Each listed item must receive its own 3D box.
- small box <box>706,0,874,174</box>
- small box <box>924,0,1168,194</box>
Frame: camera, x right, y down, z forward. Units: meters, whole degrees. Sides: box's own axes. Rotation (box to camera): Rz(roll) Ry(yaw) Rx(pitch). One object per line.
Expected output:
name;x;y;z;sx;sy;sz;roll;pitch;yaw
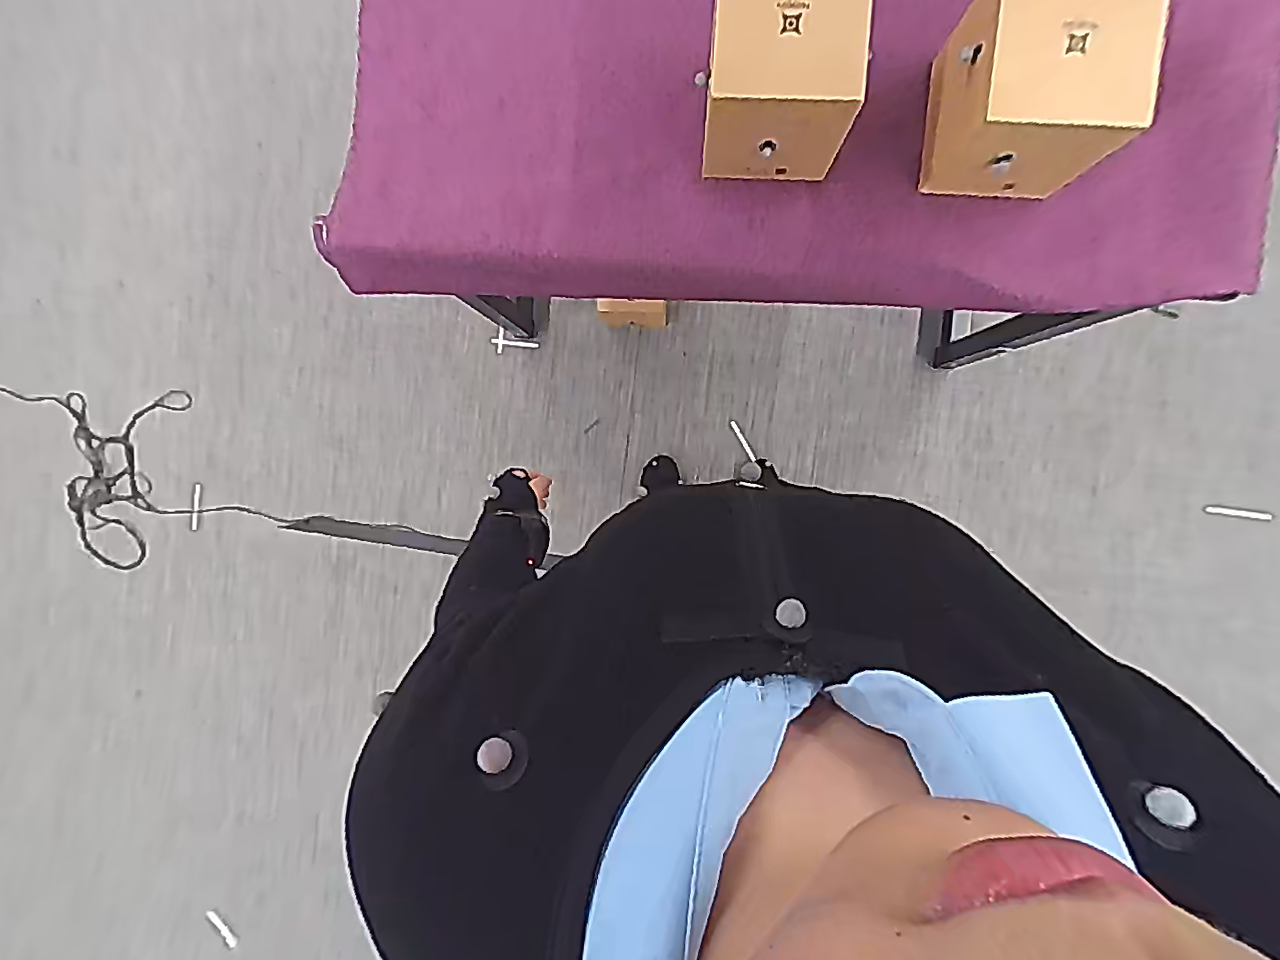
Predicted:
small box;0.171;-0.501;0.658;0.168;0.176;0.179;4;92;3
small box;0.459;-0.464;0.639;0.168;0.176;0.179;5;93;4
